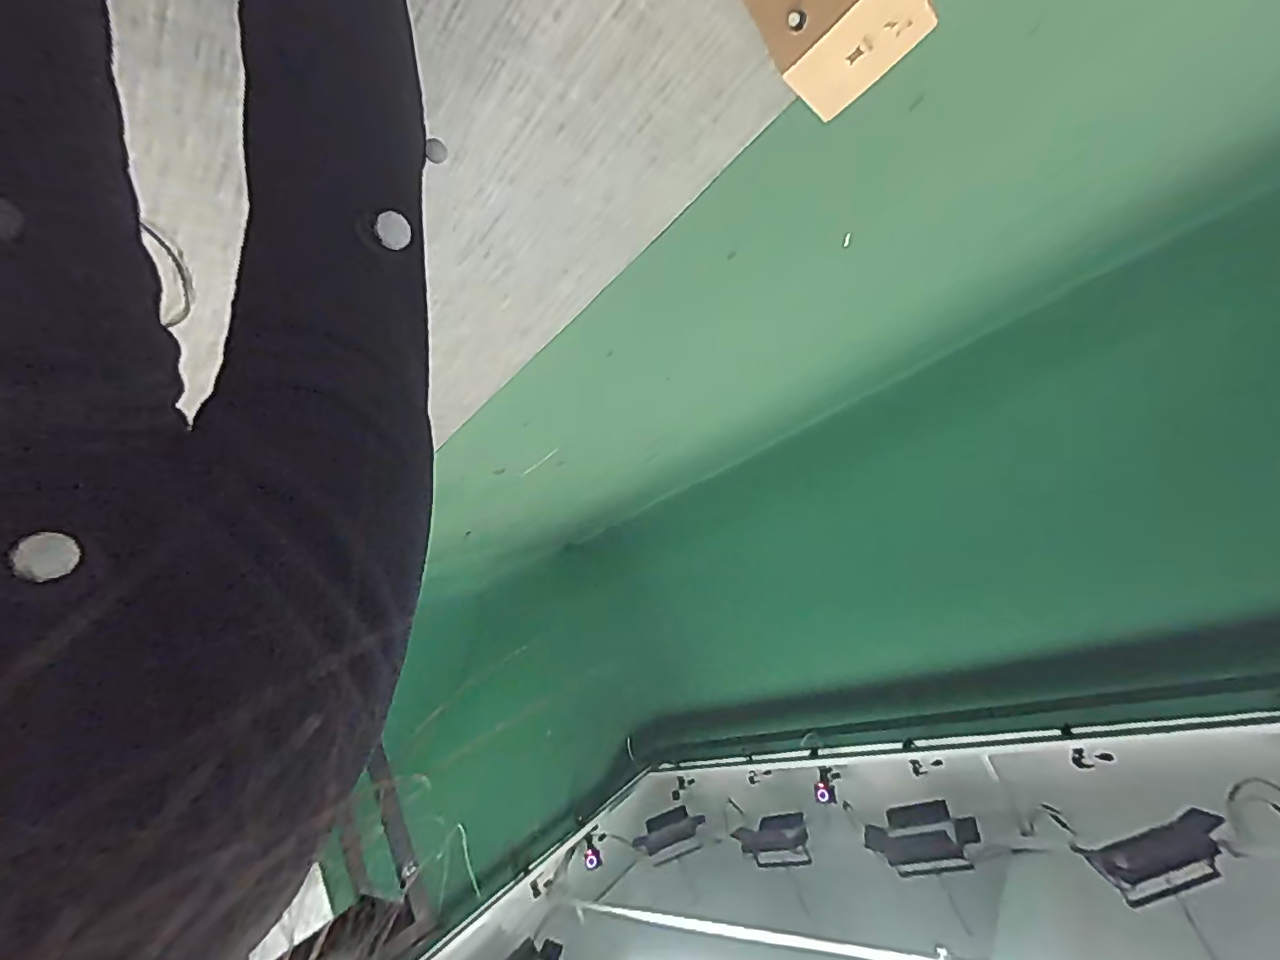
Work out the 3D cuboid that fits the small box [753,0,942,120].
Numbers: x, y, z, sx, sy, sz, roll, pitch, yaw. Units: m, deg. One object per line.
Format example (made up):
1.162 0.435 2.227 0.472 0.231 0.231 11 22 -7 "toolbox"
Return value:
0.272 -0.654 0.736 0.179 0.176 0.168 -29 169 39 "small box"
